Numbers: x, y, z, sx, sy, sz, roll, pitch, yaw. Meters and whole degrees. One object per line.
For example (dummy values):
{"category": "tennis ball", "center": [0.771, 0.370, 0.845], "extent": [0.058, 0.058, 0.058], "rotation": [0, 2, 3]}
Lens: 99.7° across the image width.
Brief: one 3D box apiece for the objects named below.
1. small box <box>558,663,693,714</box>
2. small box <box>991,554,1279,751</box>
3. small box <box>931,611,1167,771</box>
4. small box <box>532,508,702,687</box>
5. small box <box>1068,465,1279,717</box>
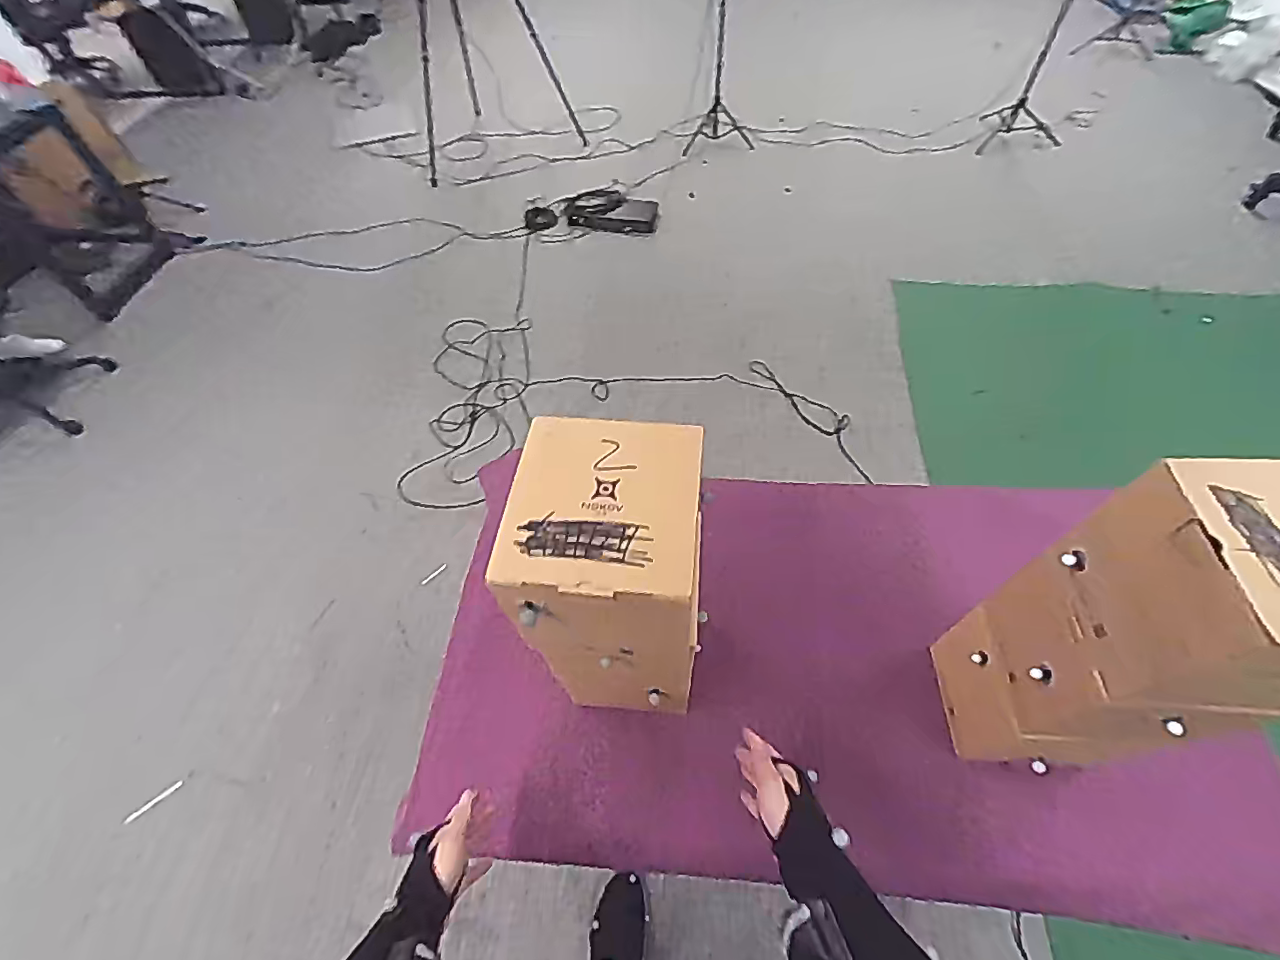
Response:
{"category": "small box", "center": [-0.010, 0.242, 0.806], "extent": [0.179, 0.176, 0.168], "rotation": [3, 55, 5]}
{"category": "small box", "center": [0.532, 0.199, 0.611], "extent": [0.179, 0.176, 0.168], "rotation": [3, 56, 5]}
{"category": "small box", "center": [0.537, 0.294, 0.744], "extent": [0.179, 0.176, 0.168], "rotation": [2, 55, 4]}
{"category": "small box", "center": [-0.017, 0.151, 0.672], "extent": [0.179, 0.176, 0.168], "rotation": [3, 56, 5]}
{"category": "small box", "center": [0.528, 0.103, 0.478], "extent": [0.179, 0.176, 0.168], "rotation": [2, 56, 5]}
